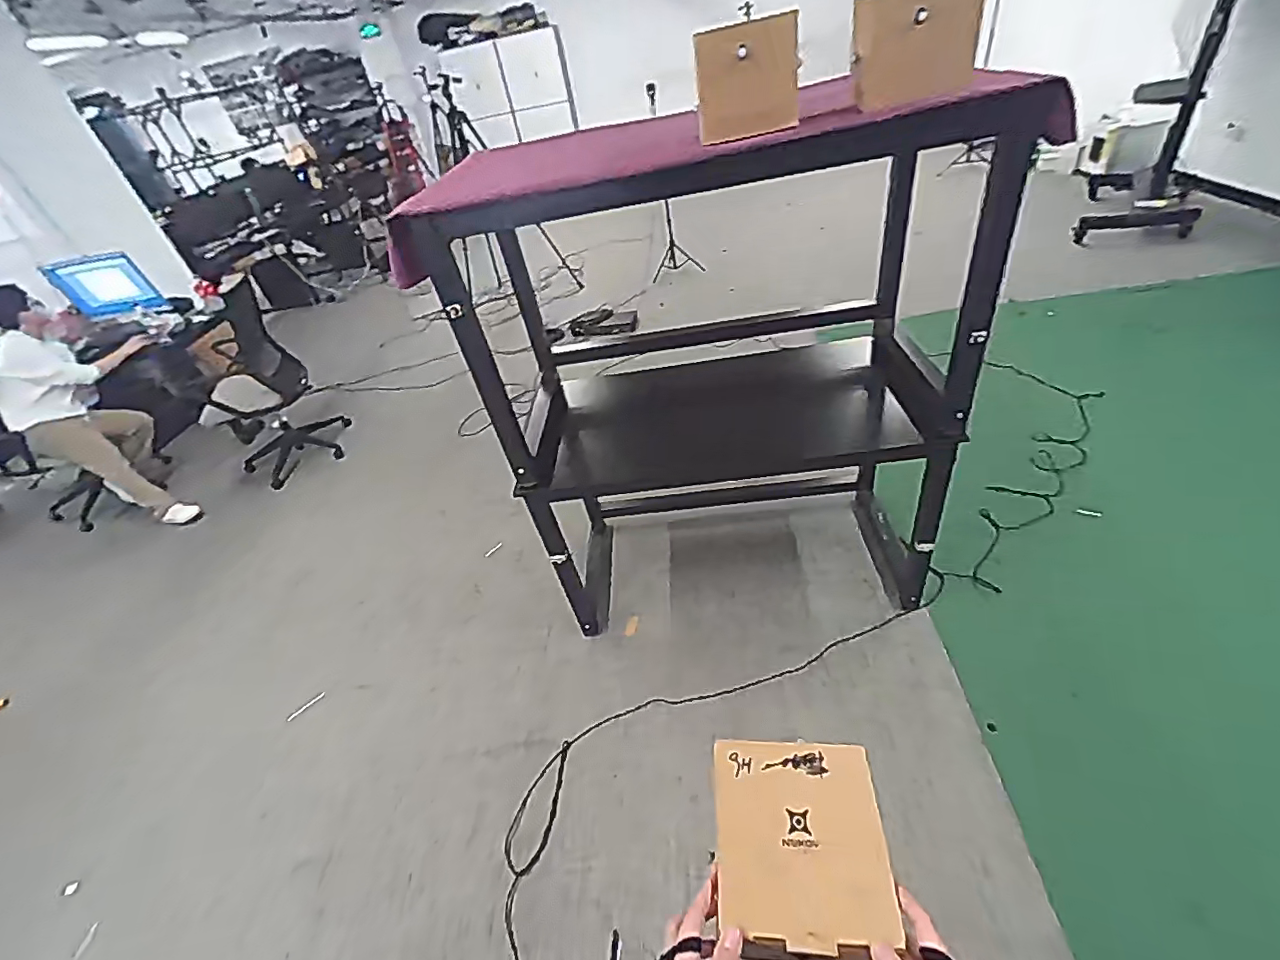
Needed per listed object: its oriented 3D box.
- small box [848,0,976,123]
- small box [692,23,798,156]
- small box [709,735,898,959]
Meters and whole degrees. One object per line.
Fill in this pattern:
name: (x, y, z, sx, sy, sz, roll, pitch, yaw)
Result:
small box: (0.478, -0.764, 0.973, 0.179, 0.176, 0.168, -5, 40, 11)
small box: (0.196, -0.734, 1.020, 0.179, 0.176, 0.168, -7, 38, 9)
small box: (0.162, 0.405, 0.598, 0.168, 0.176, 0.179, -1, 44, 6)
